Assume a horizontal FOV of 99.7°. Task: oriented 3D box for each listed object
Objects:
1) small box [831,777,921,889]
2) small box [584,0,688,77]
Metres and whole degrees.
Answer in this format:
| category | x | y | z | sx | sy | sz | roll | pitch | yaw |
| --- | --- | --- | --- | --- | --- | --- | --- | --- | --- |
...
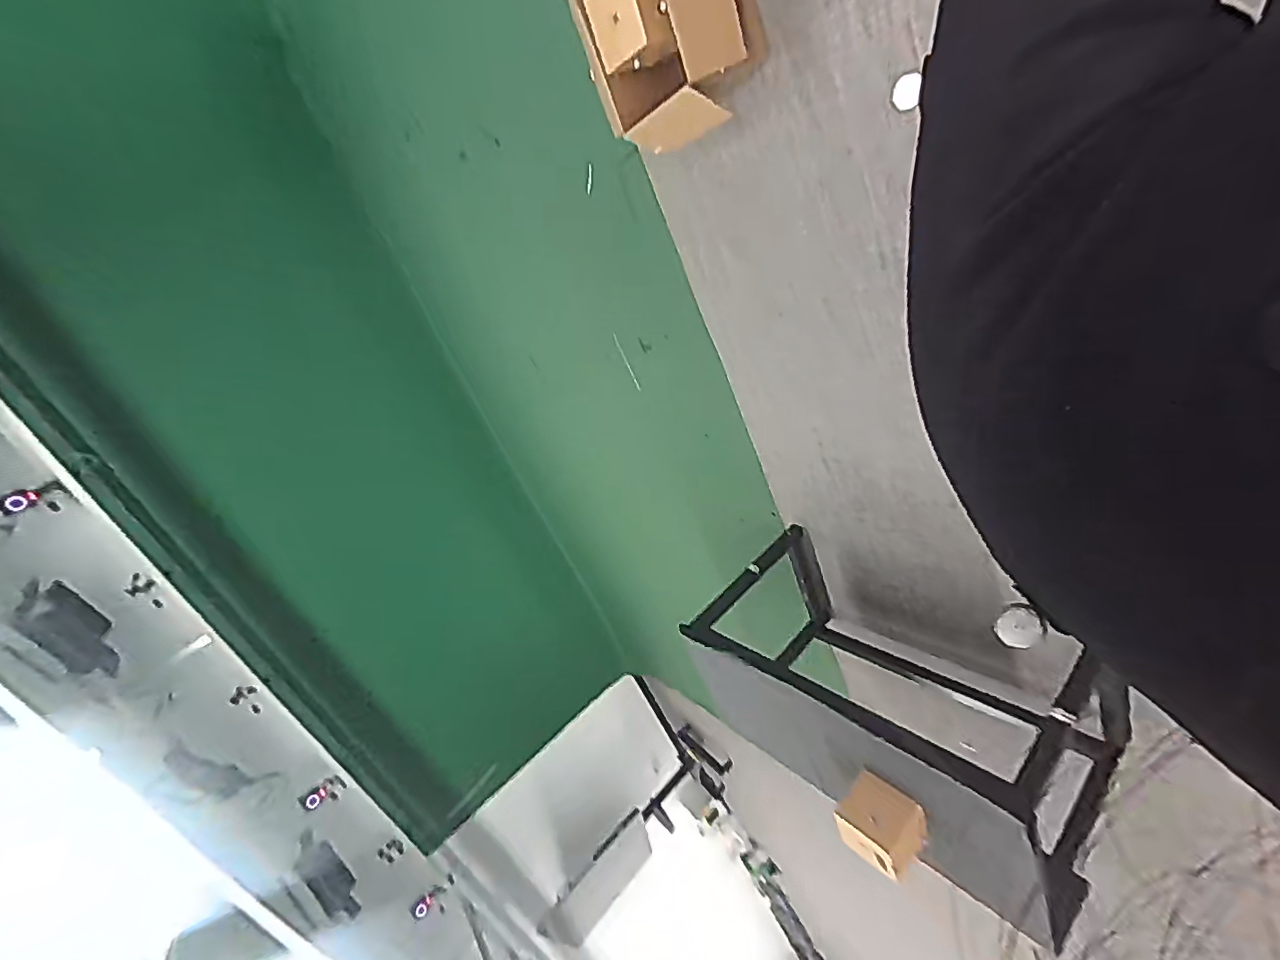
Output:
| category | x | y | z | sx | sy | sz | roll | pitch | yaw |
| --- | --- | --- | --- | --- | --- | --- | --- | --- | --- |
| small box | 0.682 | 1.001 | 1.550 | 0.179 | 0.176 | 0.168 | 15 | 134 | 52 |
| small box | -0.002 | -1.145 | 1.342 | 0.179 | 0.176 | 0.168 | 12 | 131 | 51 |
